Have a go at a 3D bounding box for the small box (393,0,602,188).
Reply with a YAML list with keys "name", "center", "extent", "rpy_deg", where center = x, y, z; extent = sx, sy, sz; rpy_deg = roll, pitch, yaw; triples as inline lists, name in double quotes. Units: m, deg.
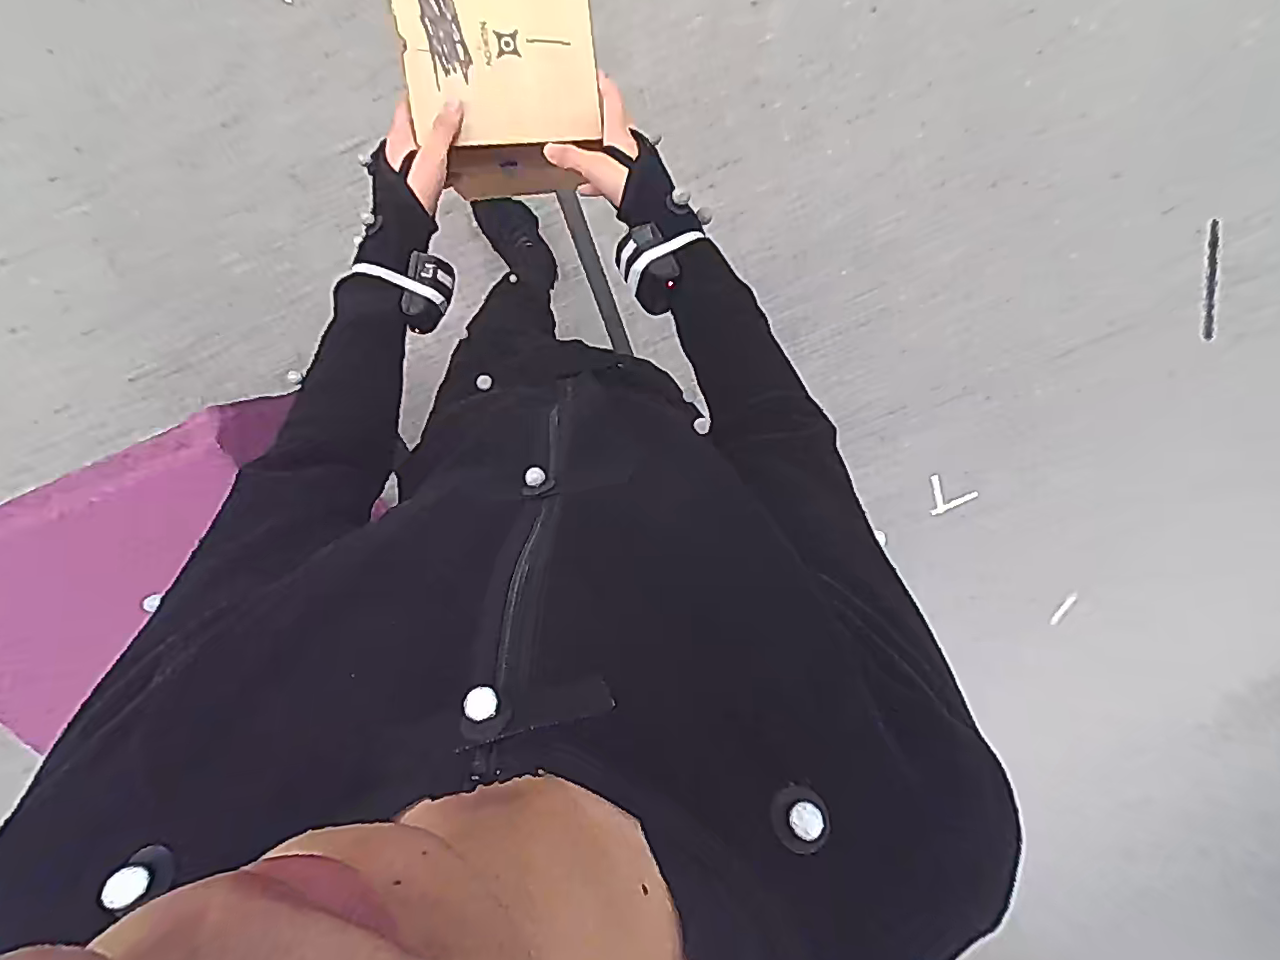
- name: "small box"
  center: [-0.134, -0.420, 0.564]
  extent: [0.179, 0.176, 0.168]
  rpy_deg: [-7, 104, -3]
